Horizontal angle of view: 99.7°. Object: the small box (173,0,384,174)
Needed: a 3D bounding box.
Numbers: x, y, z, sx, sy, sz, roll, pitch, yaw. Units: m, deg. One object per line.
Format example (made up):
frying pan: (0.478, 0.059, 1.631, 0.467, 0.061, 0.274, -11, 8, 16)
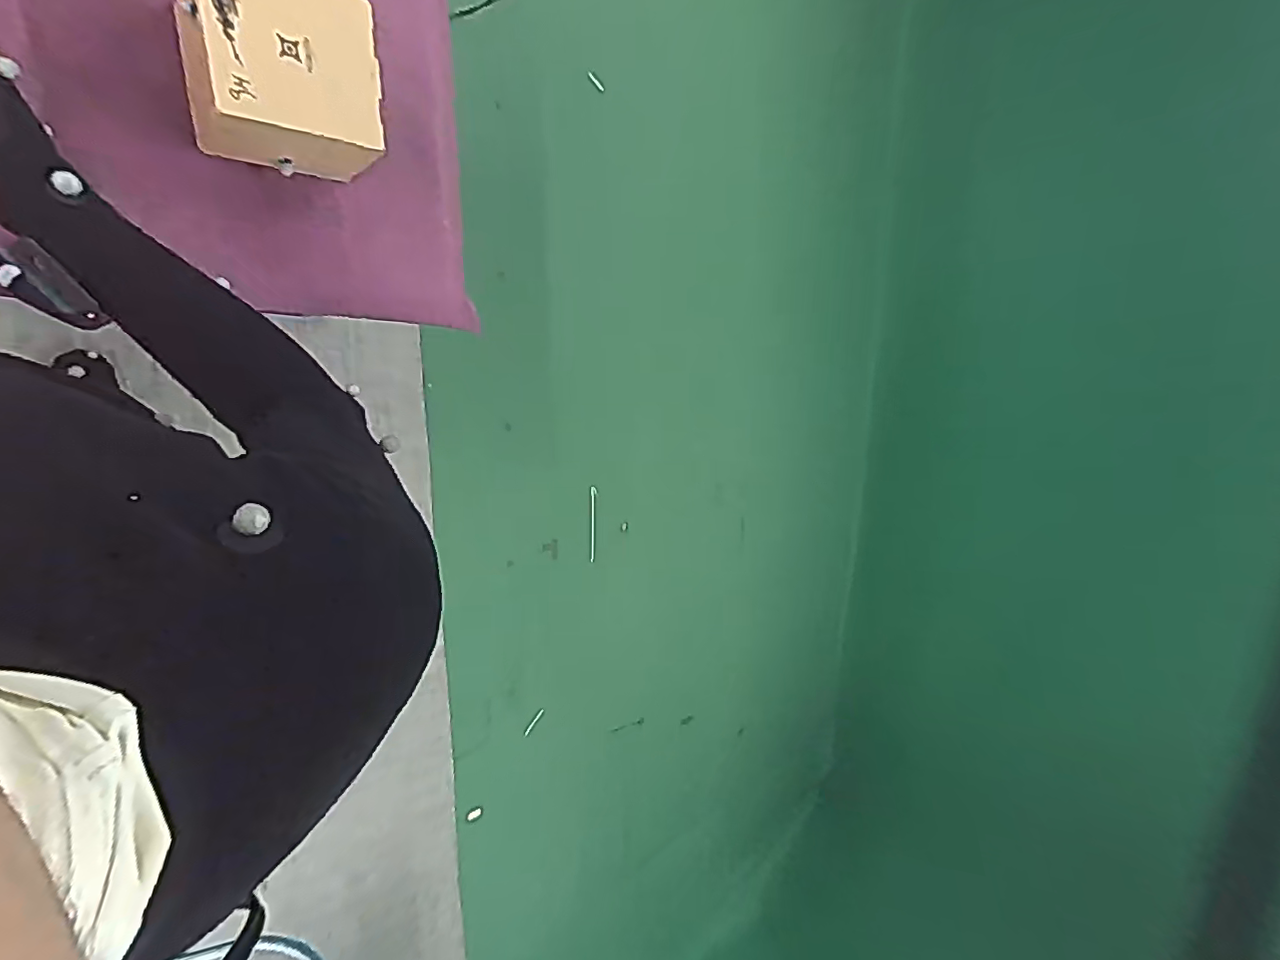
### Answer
small box: (-0.442, -0.496, 0.665, 0.179, 0.176, 0.168, -12, 108, -42)
